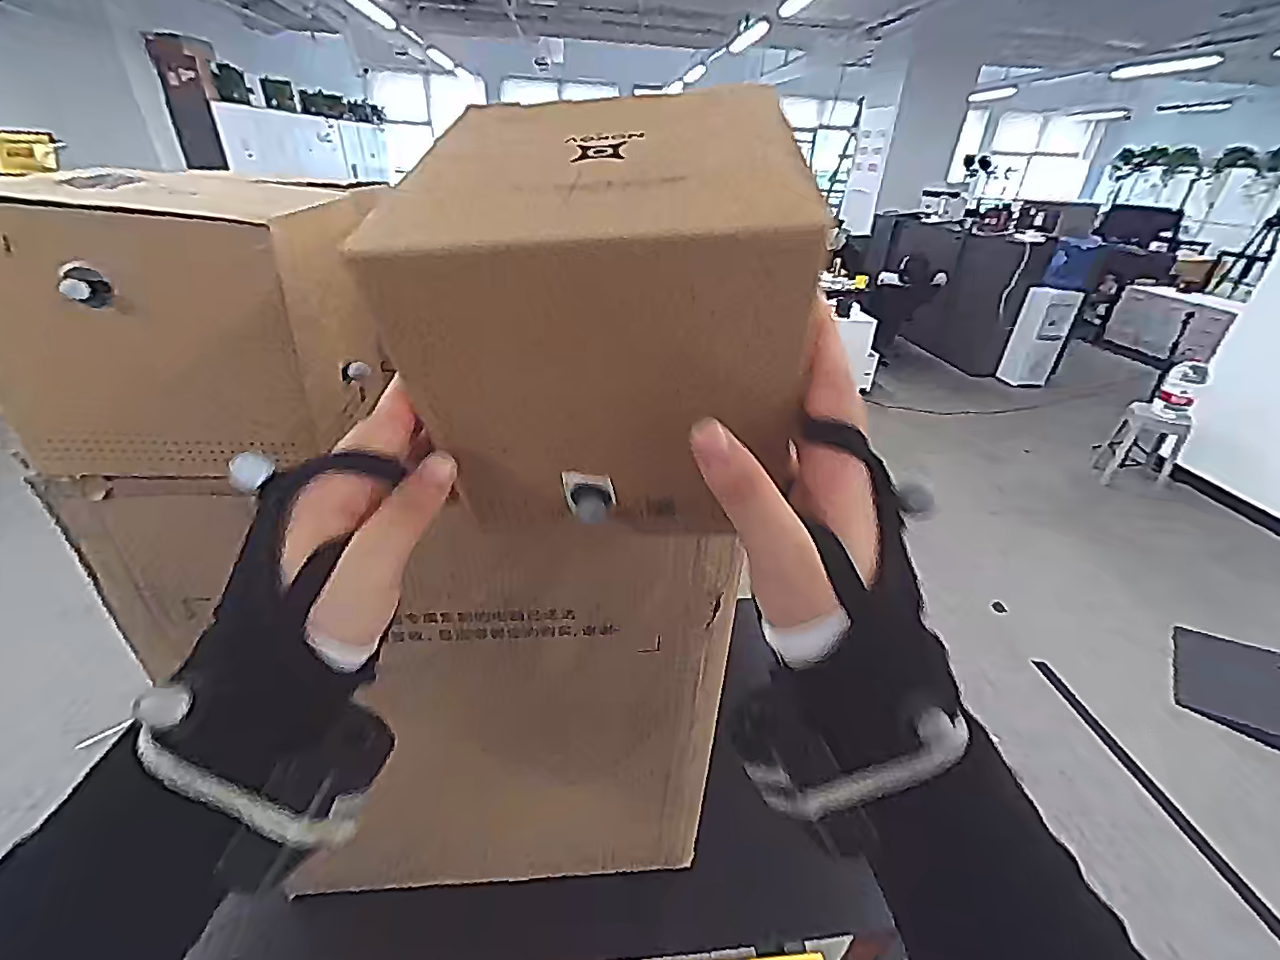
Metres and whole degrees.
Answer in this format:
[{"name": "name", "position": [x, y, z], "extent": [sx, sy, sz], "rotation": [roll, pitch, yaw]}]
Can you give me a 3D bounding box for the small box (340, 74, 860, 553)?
[{"name": "small box", "position": [-0.007, -0.081, 0.279], "extent": [0.168, 0.176, 0.179], "rotation": [-2, 50, 5]}]
